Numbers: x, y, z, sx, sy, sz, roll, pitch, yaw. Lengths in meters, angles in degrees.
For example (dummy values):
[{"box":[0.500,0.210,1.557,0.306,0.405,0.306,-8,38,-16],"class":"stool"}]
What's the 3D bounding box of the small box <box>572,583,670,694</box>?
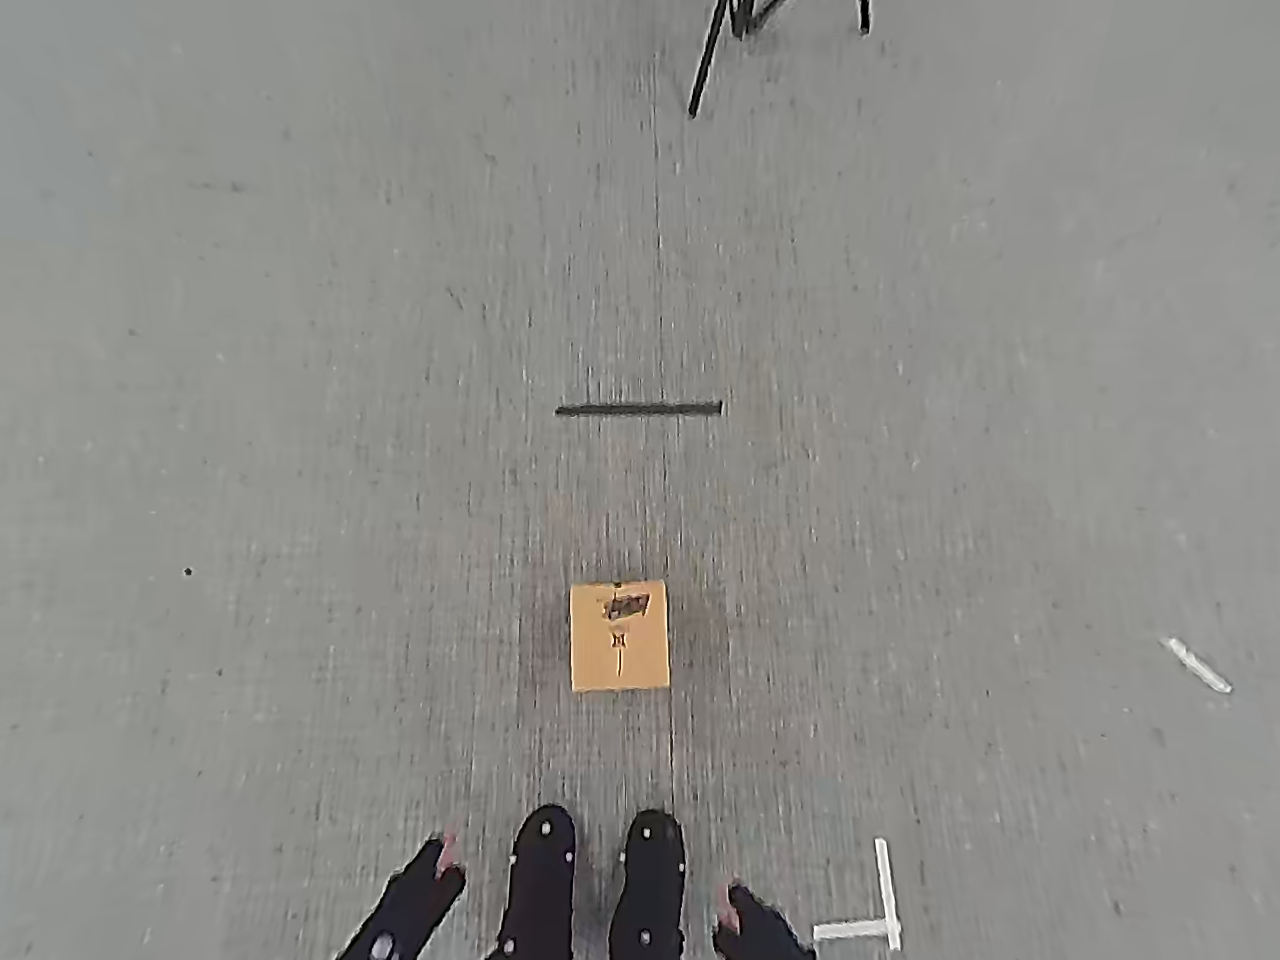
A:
[{"box":[-0.038,0.286,0.987,0.168,0.176,0.179,-2,76,-3],"class":"small box"}]
